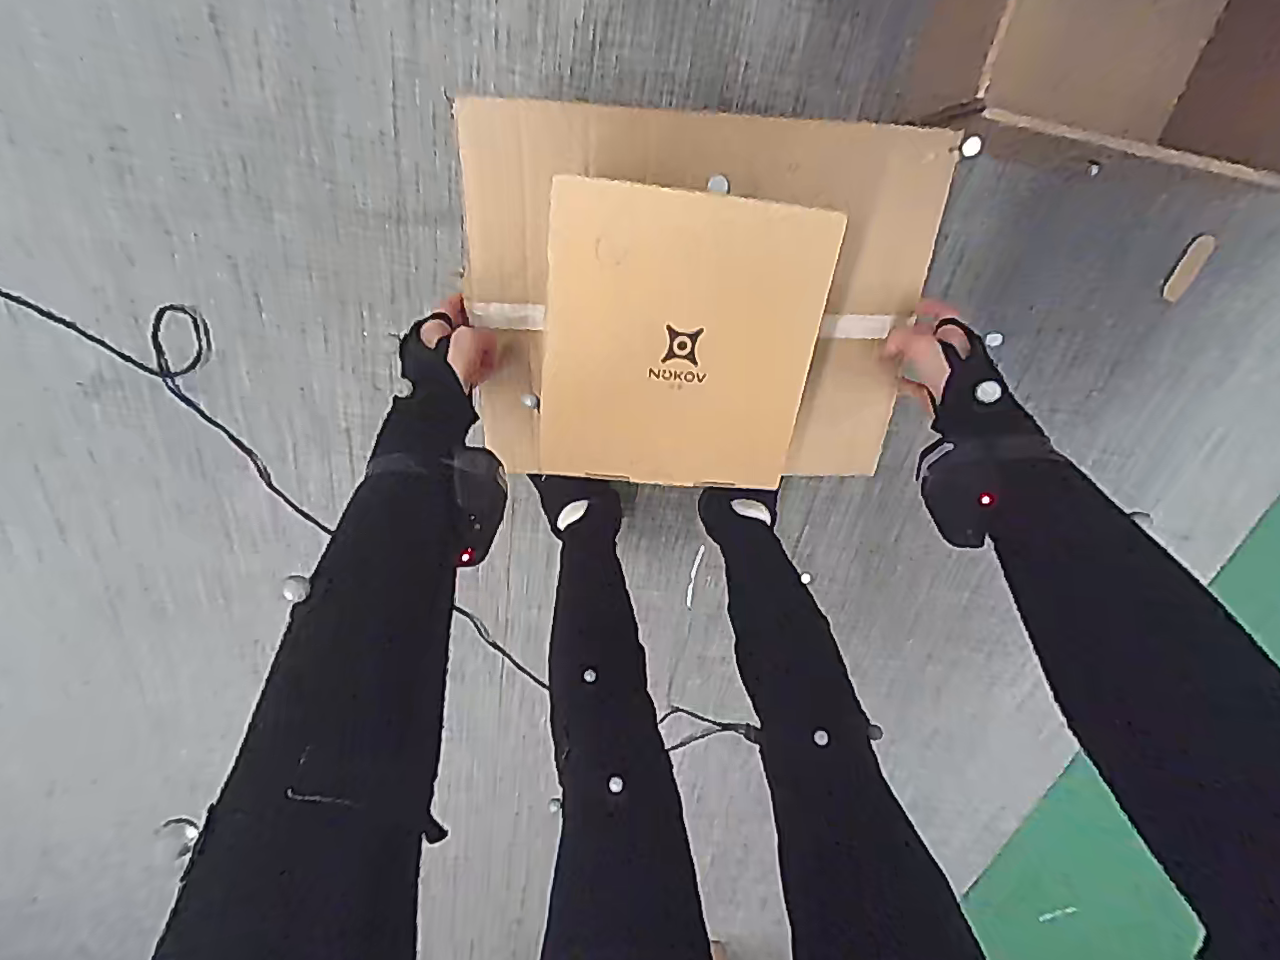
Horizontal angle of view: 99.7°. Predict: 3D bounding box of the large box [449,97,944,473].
[{"bbox_3d":[0.033,-0.211,0.618,0.408,0.320,0.320,0,116,-6],"label":"large box"}]
